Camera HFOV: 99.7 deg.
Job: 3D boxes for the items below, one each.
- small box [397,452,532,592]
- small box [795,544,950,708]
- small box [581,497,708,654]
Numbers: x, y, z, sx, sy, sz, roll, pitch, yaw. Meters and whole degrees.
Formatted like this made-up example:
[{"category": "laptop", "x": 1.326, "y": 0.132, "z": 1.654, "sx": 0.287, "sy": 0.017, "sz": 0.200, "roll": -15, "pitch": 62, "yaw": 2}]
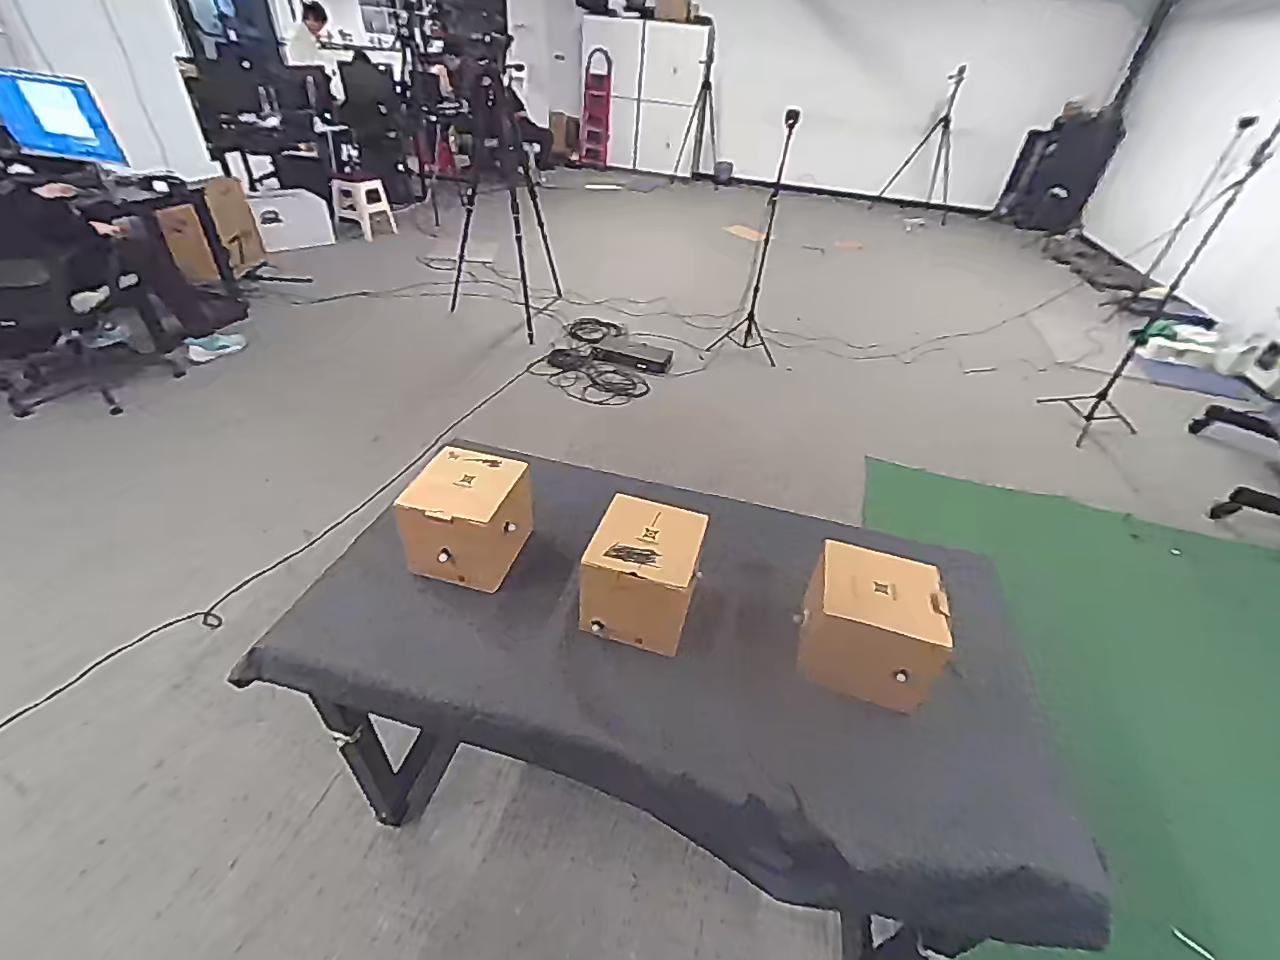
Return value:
[{"category": "small box", "x": -0.304, "y": 0.077, "z": 0.985, "sx": 0.168, "sy": 0.176, "sz": 0.179, "roll": 12, "pitch": 39, "yaw": 8}, {"category": "small box", "x": 0.359, "y": 0.232, "z": 0.860, "sx": 0.179, "sy": 0.176, "sz": 0.168, "roll": 12, "pitch": 37, "yaw": 12}, {"category": "small box", "x": 0.009, "y": 0.161, "z": 0.911, "sx": 0.168, "sy": 0.176, "sz": 0.179, "roll": 13, "pitch": 37, "yaw": 11}]
